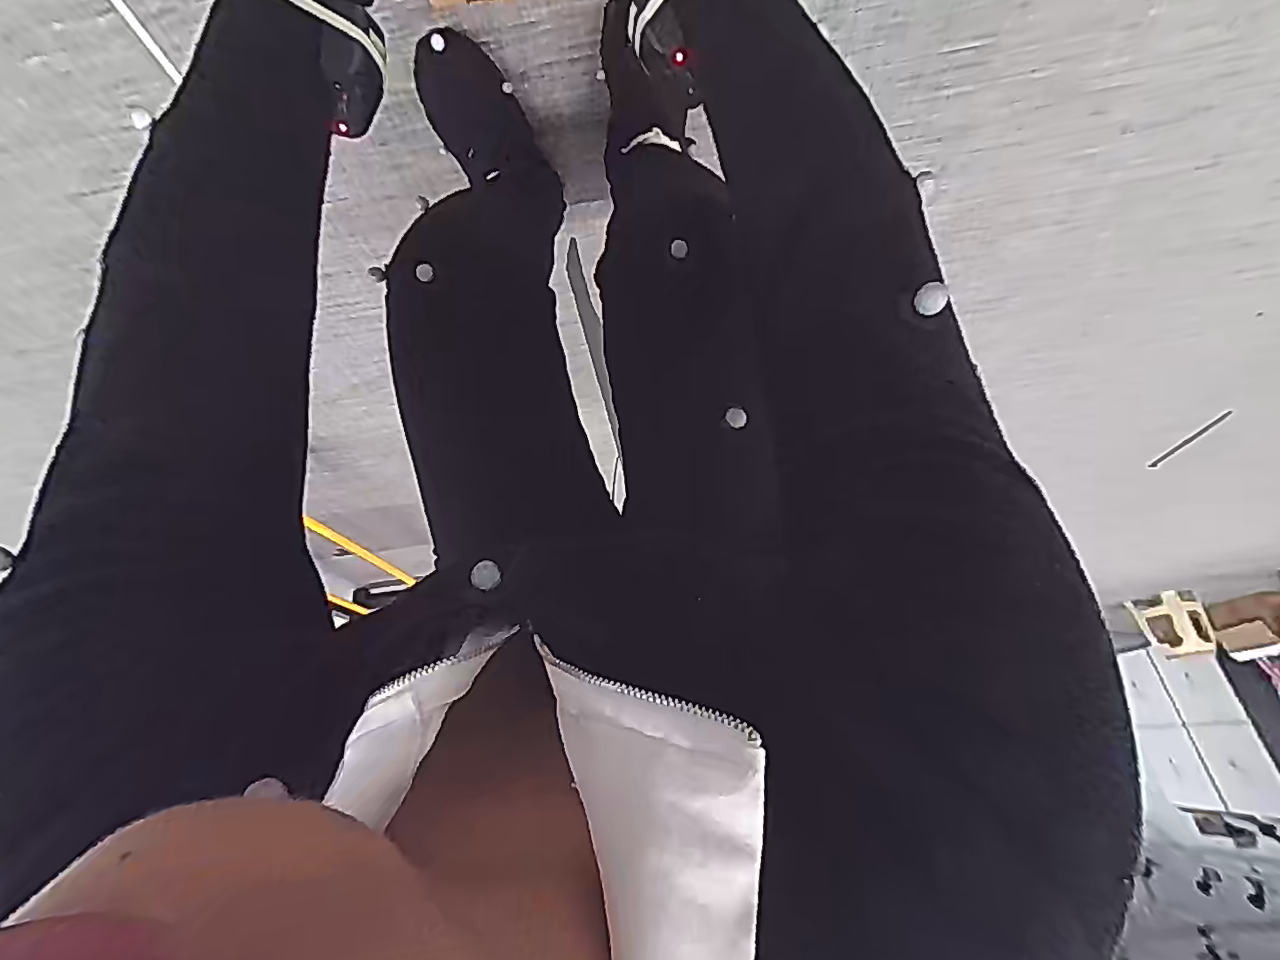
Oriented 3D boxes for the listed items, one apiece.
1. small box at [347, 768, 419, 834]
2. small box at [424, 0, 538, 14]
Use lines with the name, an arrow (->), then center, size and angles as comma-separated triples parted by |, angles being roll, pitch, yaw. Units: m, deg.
small box -> -0.850, 1.051, 1.780 | 0.179, 0.176, 0.168 | -7, 154, 1
small box -> -0.114, -0.522, 0.426 | 0.168, 0.176, 0.179 | -5, 152, 3
